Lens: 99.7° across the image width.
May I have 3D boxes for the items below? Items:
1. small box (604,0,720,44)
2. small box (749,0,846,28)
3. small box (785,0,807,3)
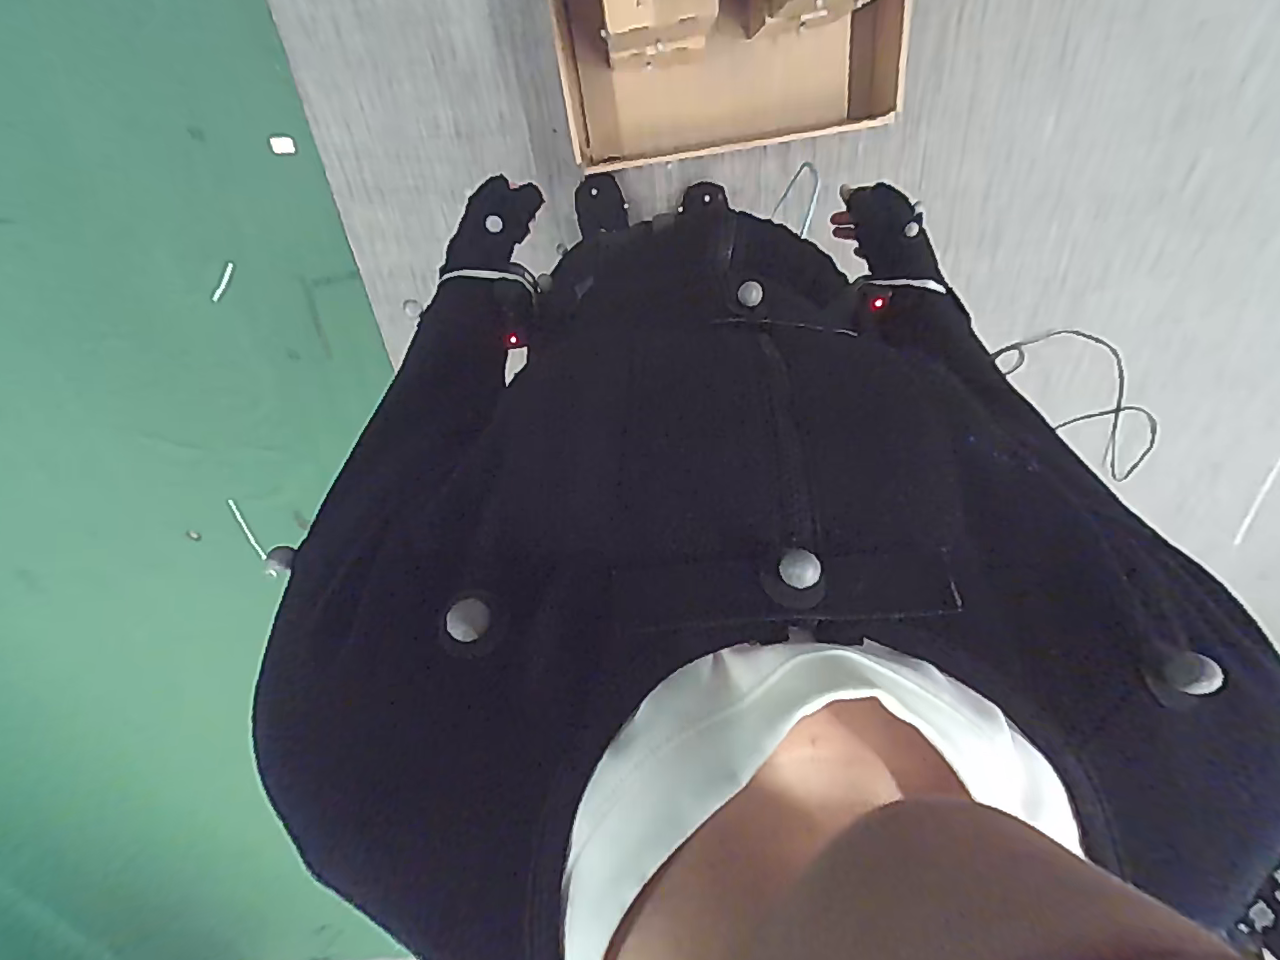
[{"bbox_3d":[0.020,-0.785,0.804,0.168,0.176,0.179,-8,122,4],"label":"small box"},{"bbox_3d":[0.277,-0.907,0.925,0.168,0.176,0.179,-10,121,8],"label":"small box"},{"bbox_3d":[0.289,-0.813,0.770,0.168,0.176,0.179,-6,122,5],"label":"small box"}]
